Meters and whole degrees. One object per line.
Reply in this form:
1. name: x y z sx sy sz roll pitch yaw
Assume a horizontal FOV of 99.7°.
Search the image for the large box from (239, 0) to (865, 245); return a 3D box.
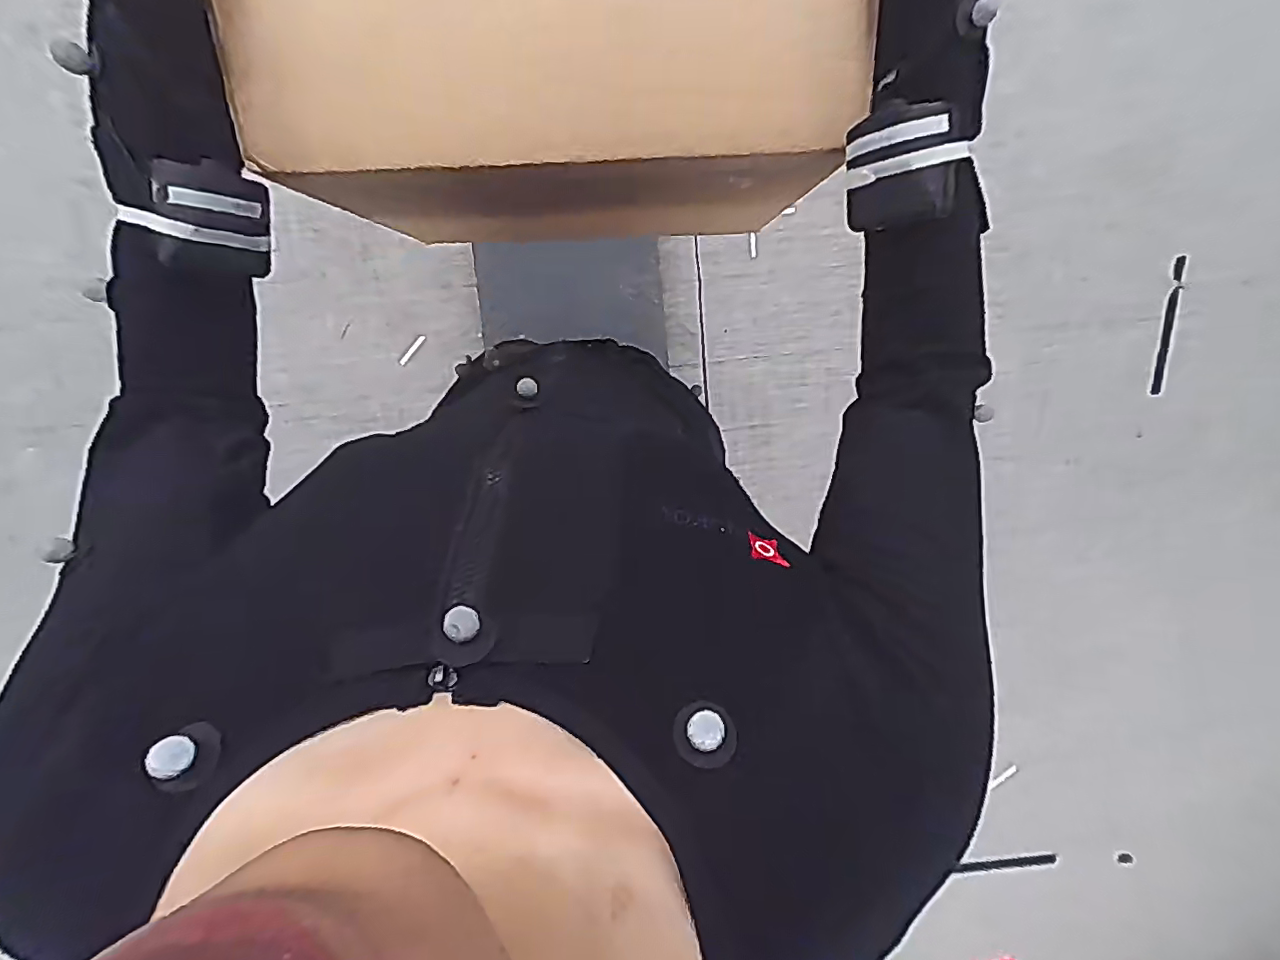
1. large box: -0.061 -0.404 0.471 0.408 0.320 0.320 -3 106 -1
